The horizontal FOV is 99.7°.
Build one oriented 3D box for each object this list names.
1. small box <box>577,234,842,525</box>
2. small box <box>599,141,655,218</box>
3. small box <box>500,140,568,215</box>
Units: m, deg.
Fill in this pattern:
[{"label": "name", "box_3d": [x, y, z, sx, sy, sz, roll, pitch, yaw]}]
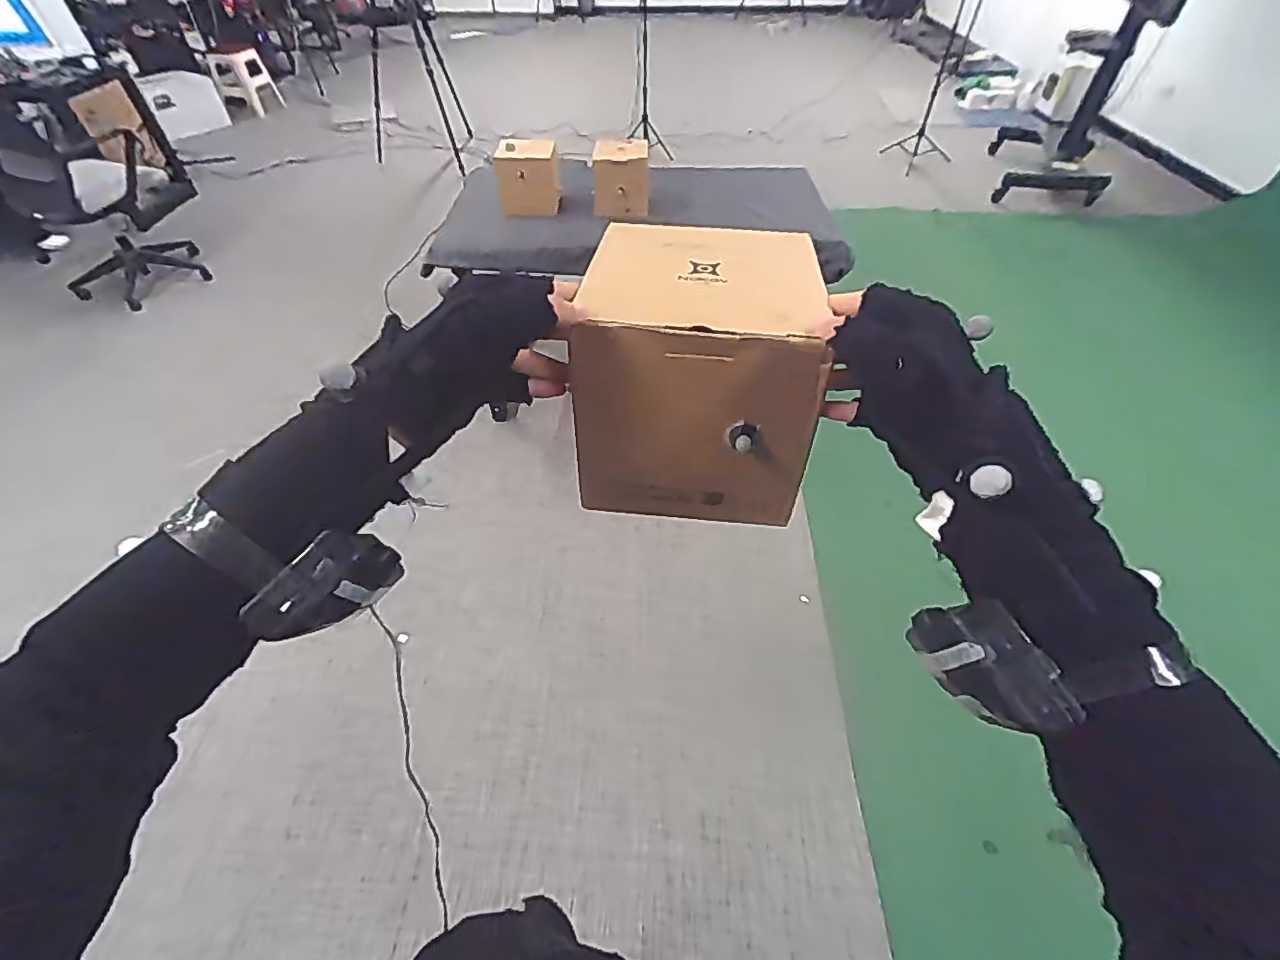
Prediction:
[{"label": "small box", "box_3d": [0.050, -0.083, 0.442, 0.168, 0.176, 0.179, 6, 42, 4]}, {"label": "small box", "box_3d": [-0.037, -0.949, 1.711, 0.168, 0.176, 0.179, 1, 49, 1]}, {"label": "small box", "box_3d": [-0.330, -0.959, 1.719, 0.179, 0.176, 0.168, 1, 49, -1]}]
